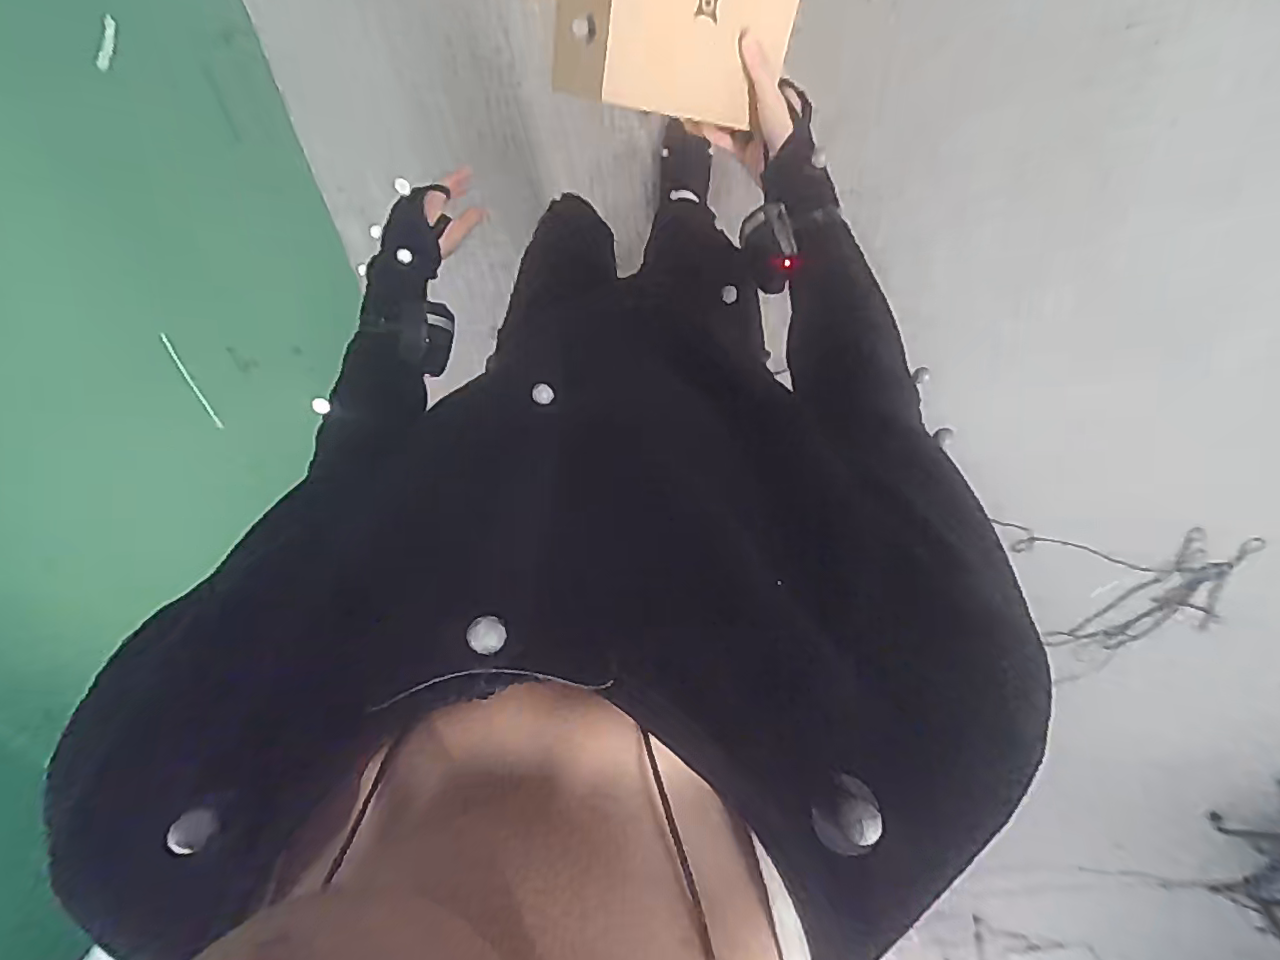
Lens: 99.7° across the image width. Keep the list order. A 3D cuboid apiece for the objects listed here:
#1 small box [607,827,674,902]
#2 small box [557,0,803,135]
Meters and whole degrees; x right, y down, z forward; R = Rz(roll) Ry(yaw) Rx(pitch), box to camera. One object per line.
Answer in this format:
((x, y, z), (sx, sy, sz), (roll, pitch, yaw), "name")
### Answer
((0.008, 1.098, 1.515), (0.179, 0.176, 0.168), (1, 127, 5), "small box")
((0.030, -0.434, 0.482), (0.168, 0.176, 0.179), (-5, 128, -25), "small box")
